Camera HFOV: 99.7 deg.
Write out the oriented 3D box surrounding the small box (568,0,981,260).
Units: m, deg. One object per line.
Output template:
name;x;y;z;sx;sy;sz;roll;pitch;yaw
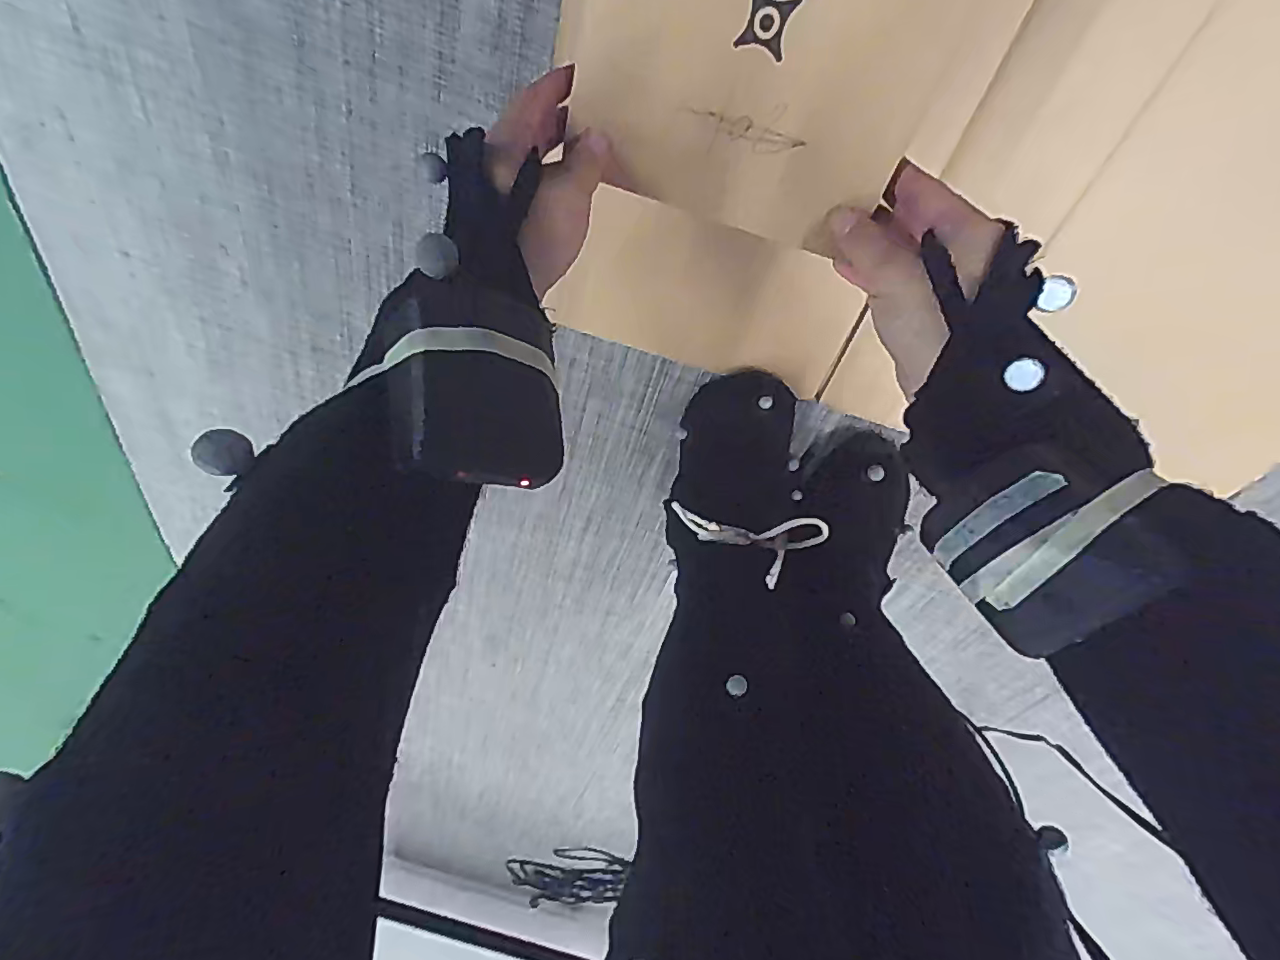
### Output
small box;0.073;-0.256;0.300;0.168;0.176;0.179;18;130;-1
